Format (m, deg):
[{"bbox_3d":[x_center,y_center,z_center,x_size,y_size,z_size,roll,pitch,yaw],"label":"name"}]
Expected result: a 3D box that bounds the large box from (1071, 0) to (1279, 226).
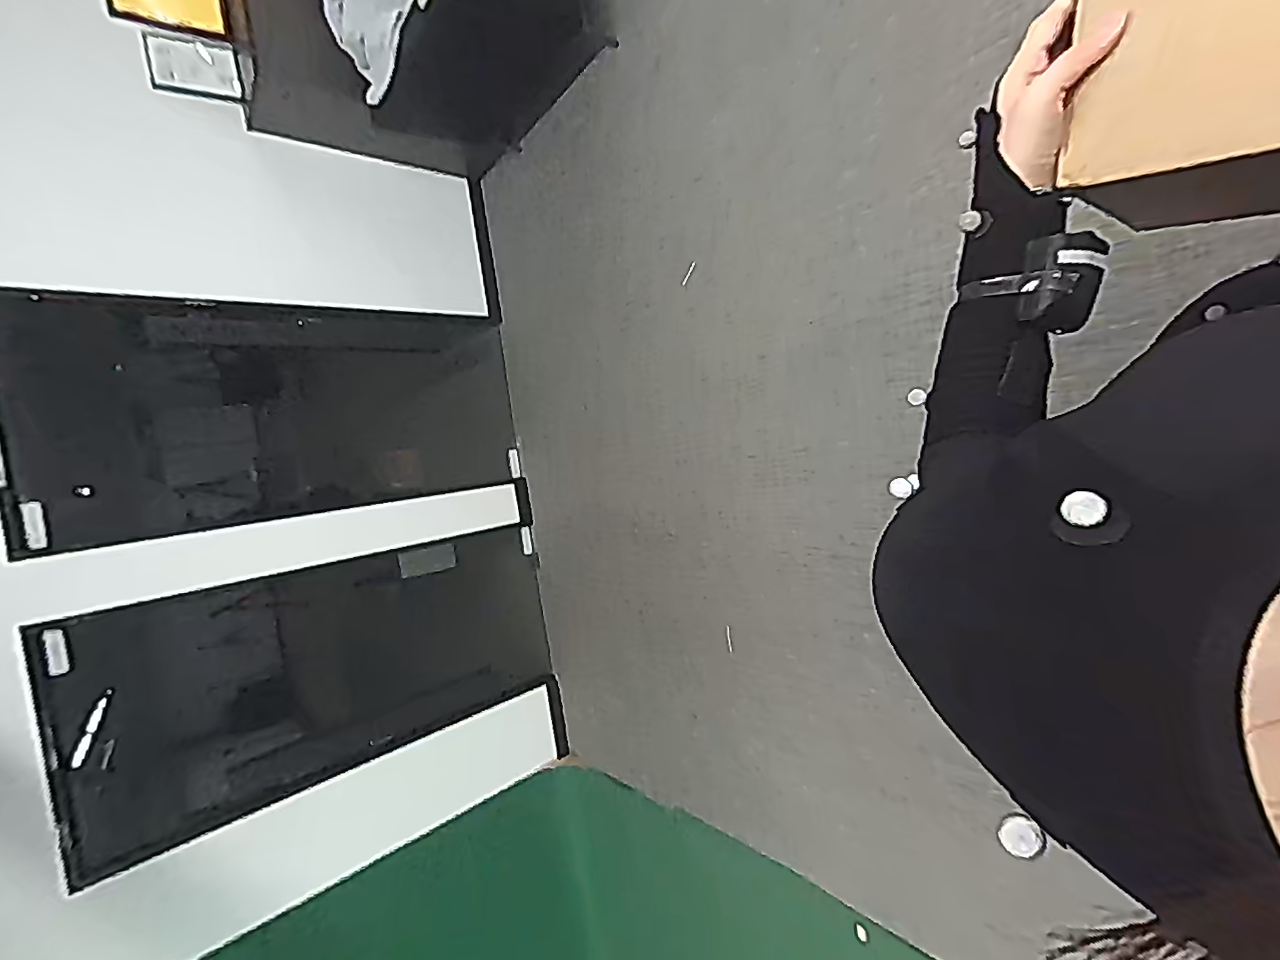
[{"bbox_3d":[0.544,-0.370,0.315,0.408,0.320,0.320,11,110,47],"label":"large box"}]
